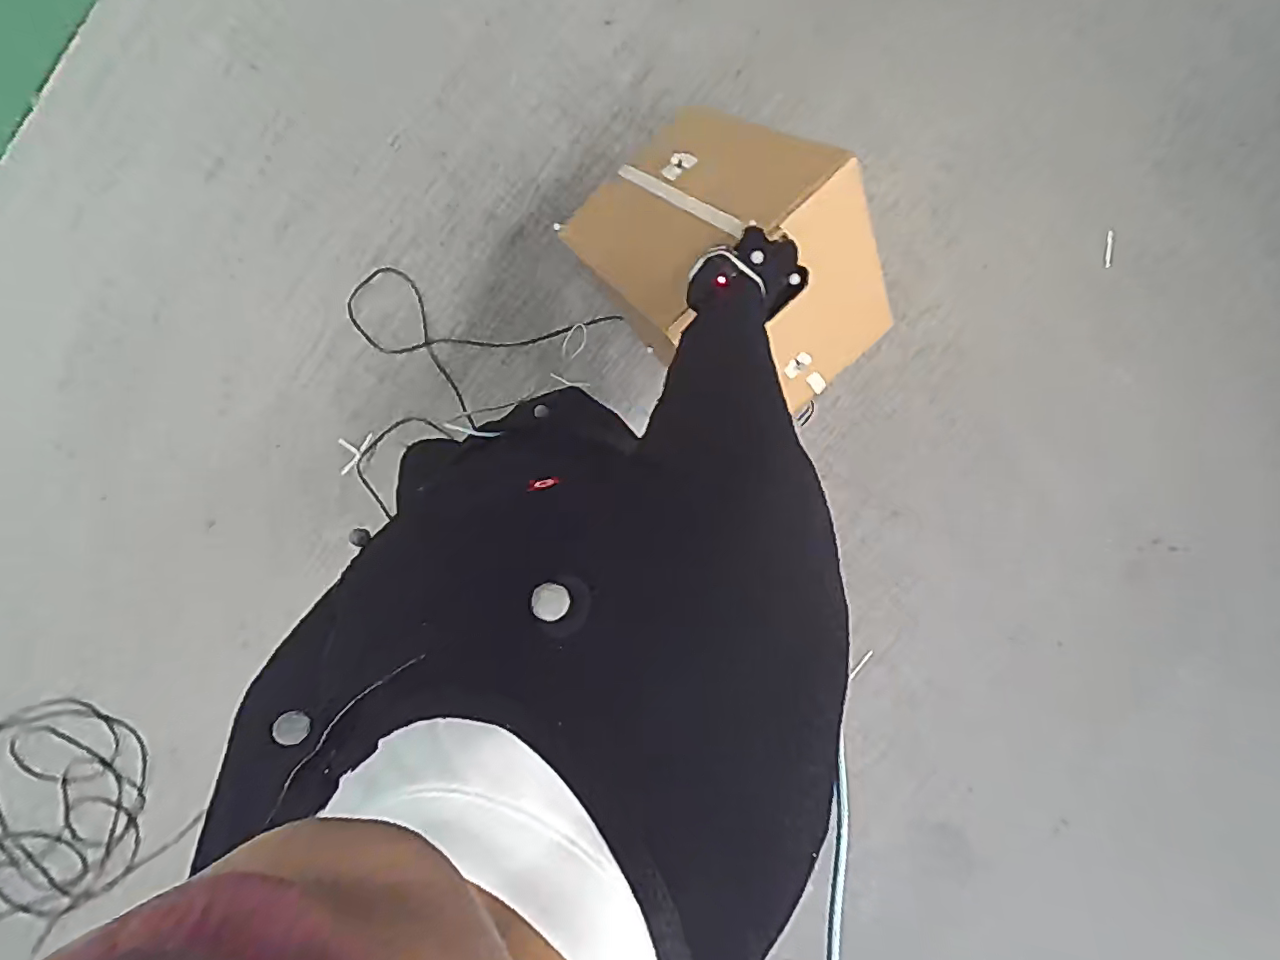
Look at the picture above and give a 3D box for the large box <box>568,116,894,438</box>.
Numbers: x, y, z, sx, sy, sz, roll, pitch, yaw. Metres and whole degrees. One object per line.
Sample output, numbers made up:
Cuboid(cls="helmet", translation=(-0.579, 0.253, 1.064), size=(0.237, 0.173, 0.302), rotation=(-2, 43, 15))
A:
Cuboid(cls="large box", translation=(0.147, -0.345, 0.925), size=(0.320, 0.408, 0.320), rotation=(-41, 138, 5))
